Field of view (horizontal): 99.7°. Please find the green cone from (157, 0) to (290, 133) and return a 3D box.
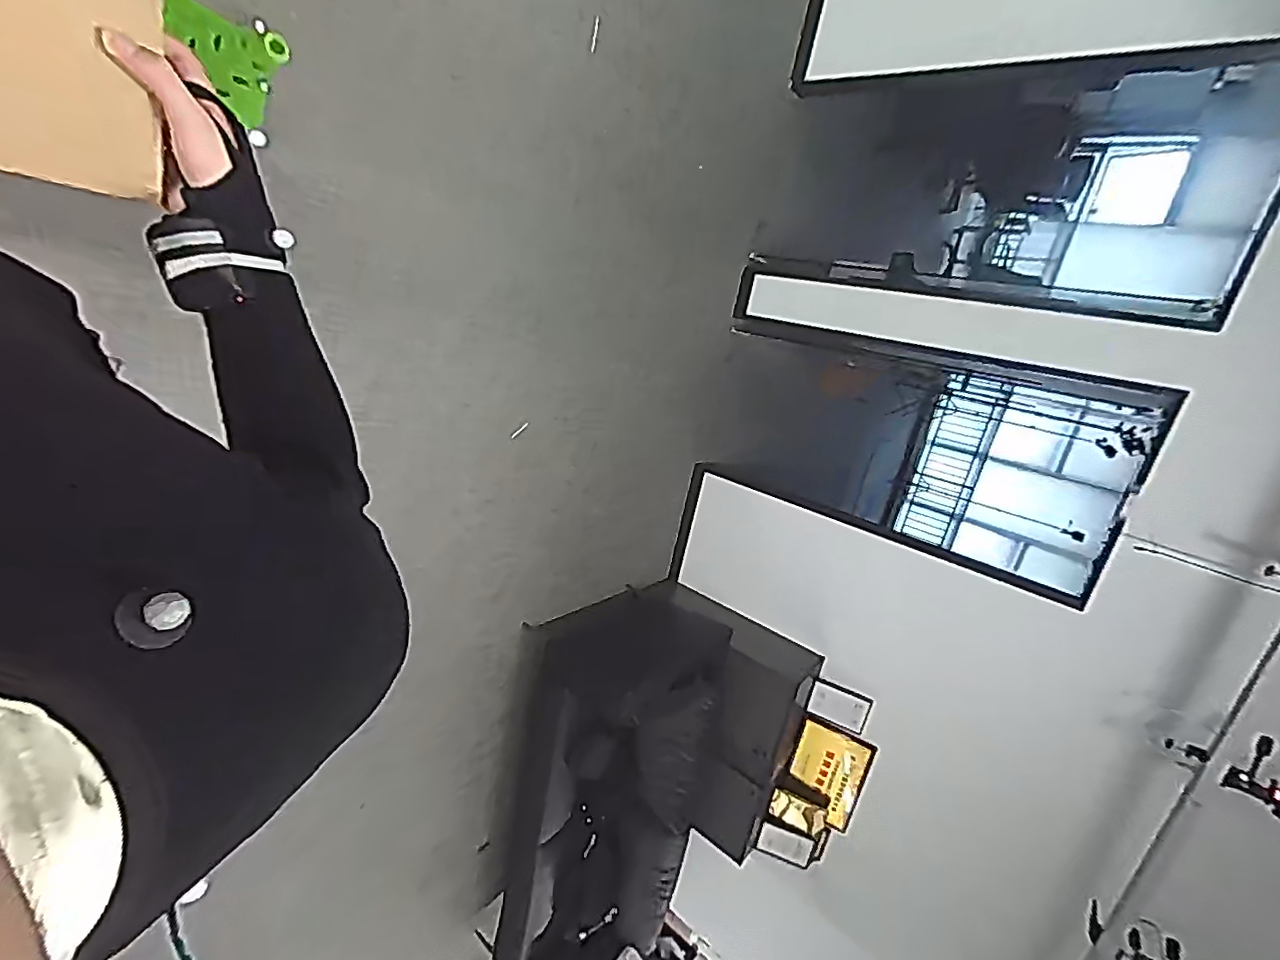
[{"bbox_3d":[-0.787,-0.843,1.070,0.200,0.368,0.202,1,107,-55],"label":"green cone"}]
